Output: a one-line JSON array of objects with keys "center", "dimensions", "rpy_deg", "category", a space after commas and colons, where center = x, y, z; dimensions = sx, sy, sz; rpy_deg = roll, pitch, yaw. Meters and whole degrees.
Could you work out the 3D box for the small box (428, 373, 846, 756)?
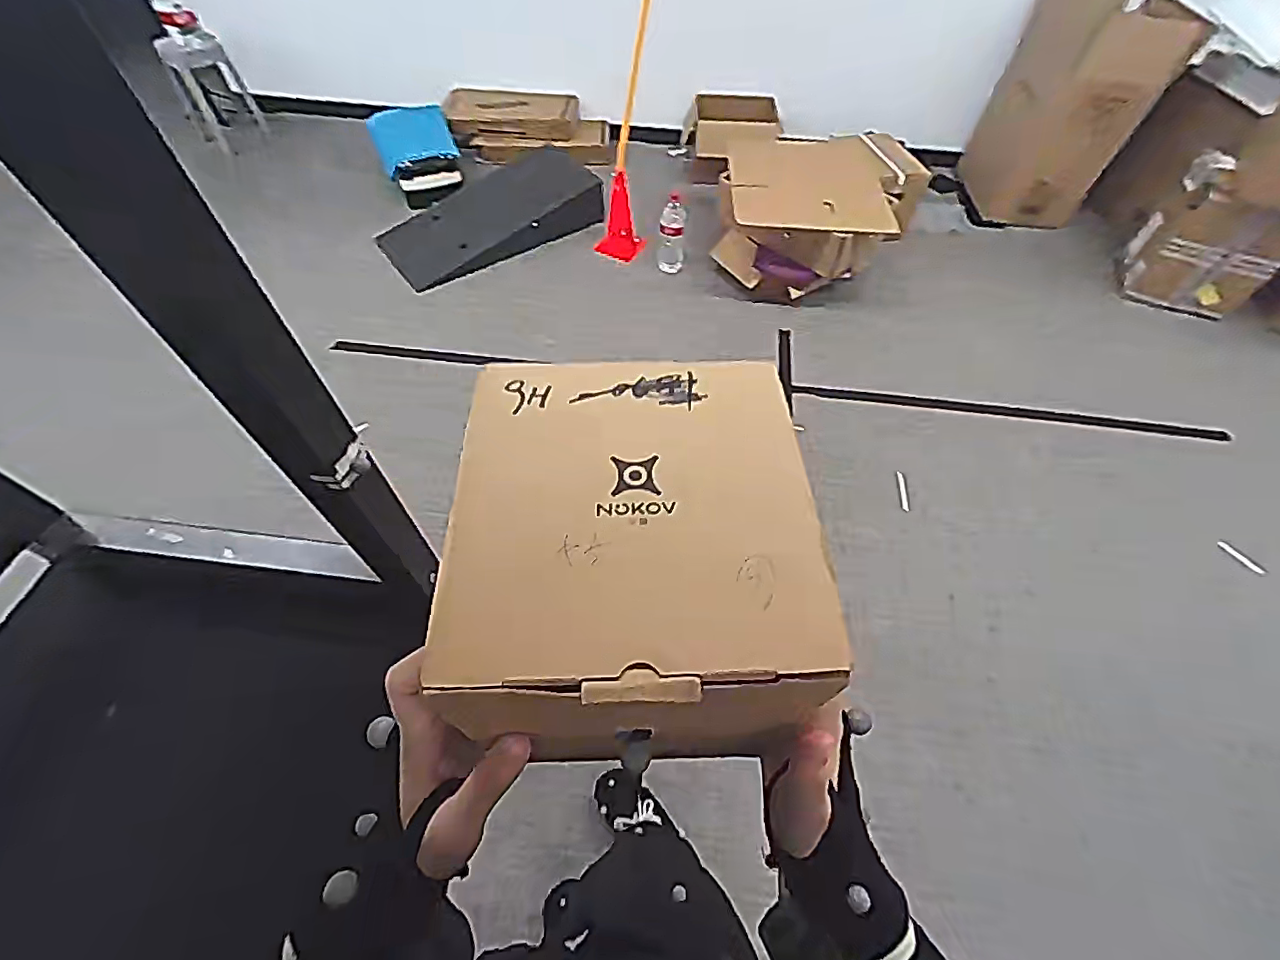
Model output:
[{"center": [-0.003, 0.058, 0.318], "dimensions": [0.168, 0.176, 0.179], "rpy_deg": [0, 55, -2], "category": "small box"}]
